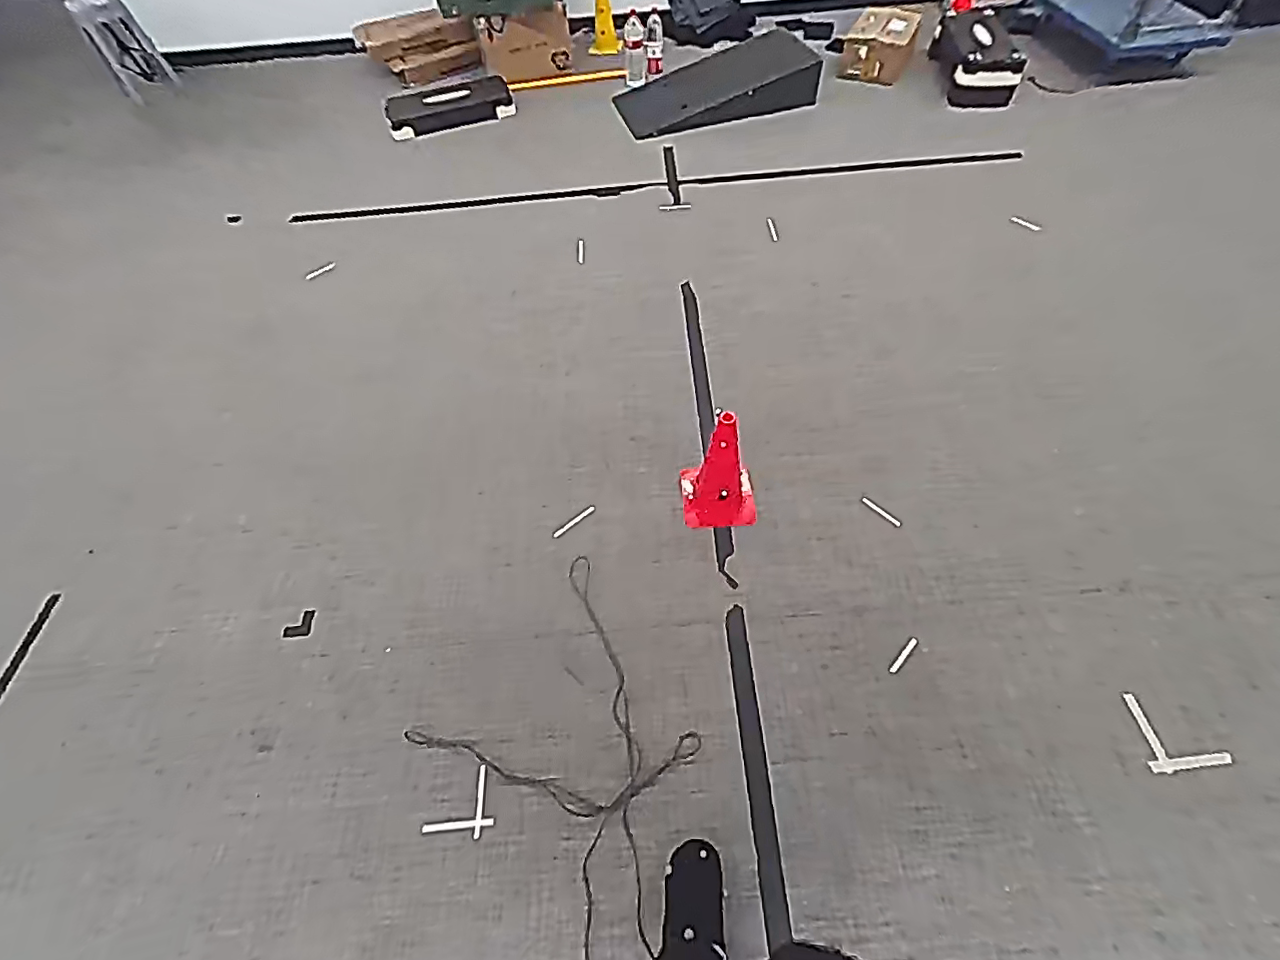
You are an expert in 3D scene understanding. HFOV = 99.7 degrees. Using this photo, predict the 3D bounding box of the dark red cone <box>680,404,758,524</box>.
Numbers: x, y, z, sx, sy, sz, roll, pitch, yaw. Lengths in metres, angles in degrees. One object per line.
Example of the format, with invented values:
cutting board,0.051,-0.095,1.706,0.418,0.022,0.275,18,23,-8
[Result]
dark red cone,0.209,-0.057,1.385,0.201,0.394,0.202,-5,57,1
